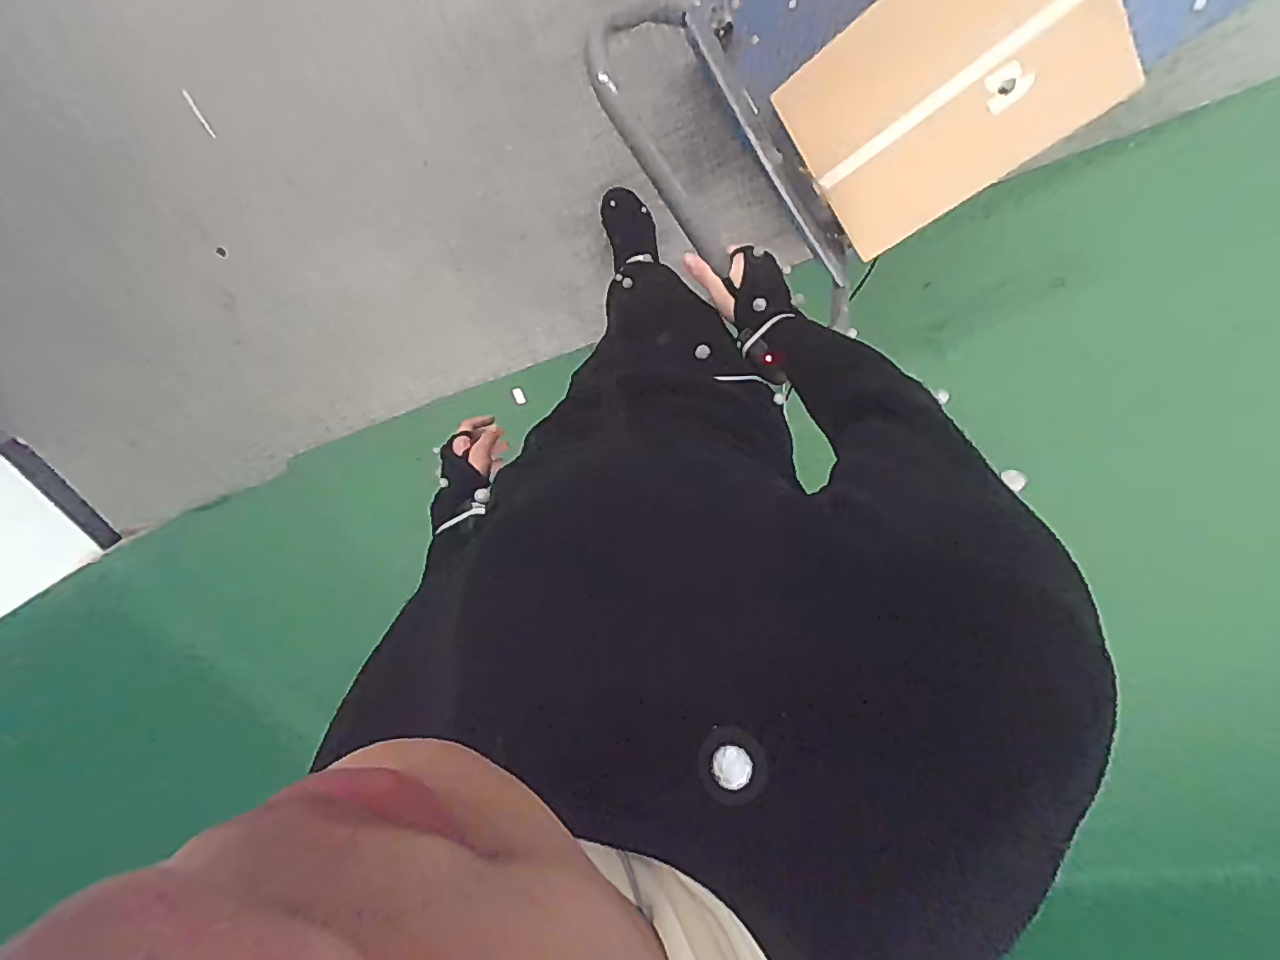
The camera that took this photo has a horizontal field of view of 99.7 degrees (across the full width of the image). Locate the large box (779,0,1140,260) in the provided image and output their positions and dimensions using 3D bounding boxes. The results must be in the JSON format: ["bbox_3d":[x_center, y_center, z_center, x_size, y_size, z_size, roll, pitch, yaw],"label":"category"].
[{"bbox_3d":[0.494,-0.658,0.925,0.408,0.320,0.320,-28,113,30],"label":"large box"}]
